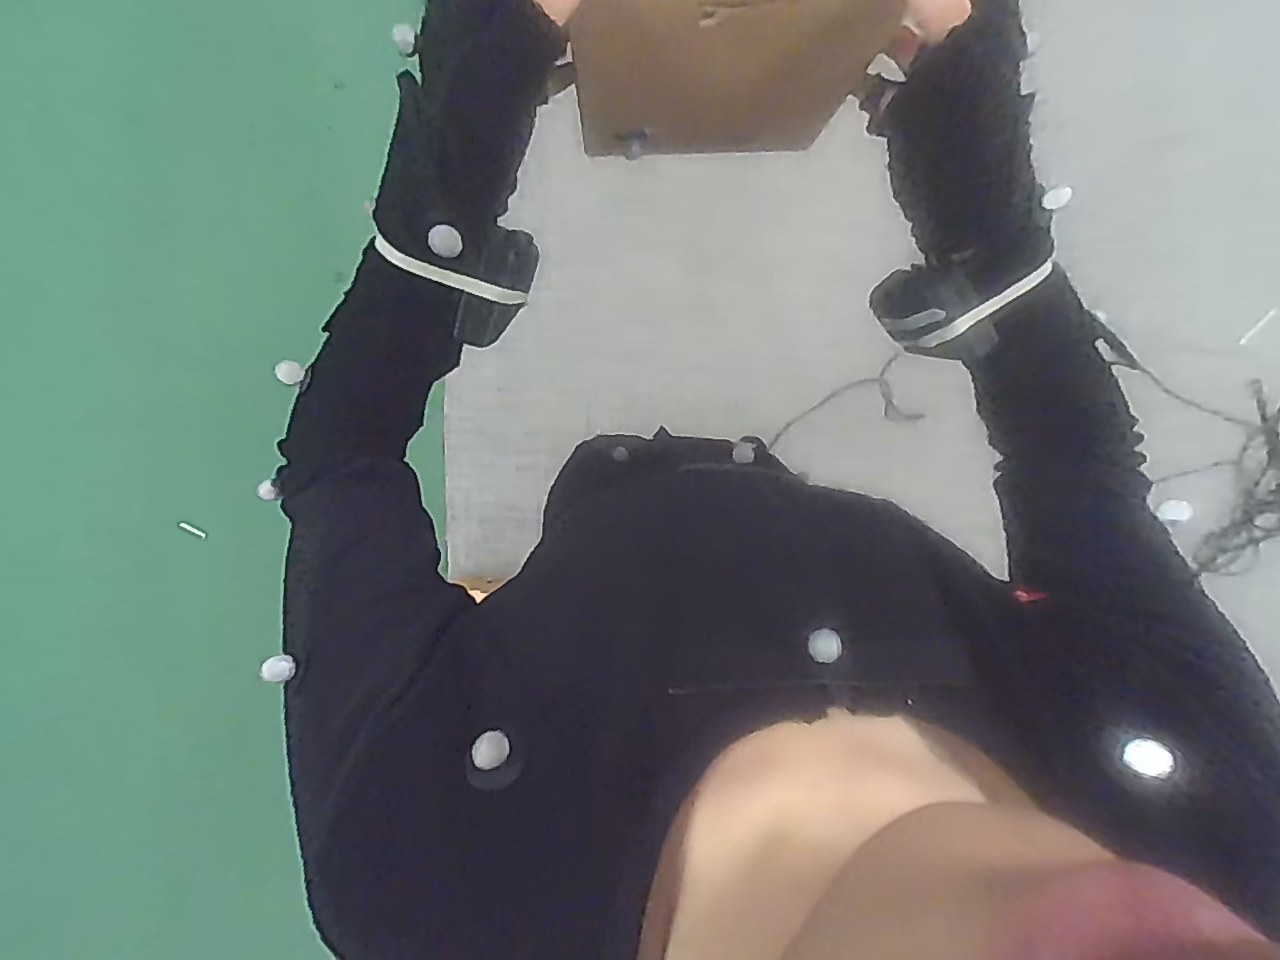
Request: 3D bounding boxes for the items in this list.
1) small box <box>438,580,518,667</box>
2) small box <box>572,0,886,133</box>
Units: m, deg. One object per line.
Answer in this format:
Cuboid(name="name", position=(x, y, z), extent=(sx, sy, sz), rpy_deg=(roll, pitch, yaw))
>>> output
Cuboid(name="small box", position=(-0.412, 0.366, 1.399), extent=(0.168, 0.176, 0.179), rpy_deg=(1, 92, -1))
Cuboid(name="small box", position=(0.044, -0.319, 0.298), extent=(0.168, 0.176, 0.179), rpy_deg=(-3, 96, -2))
